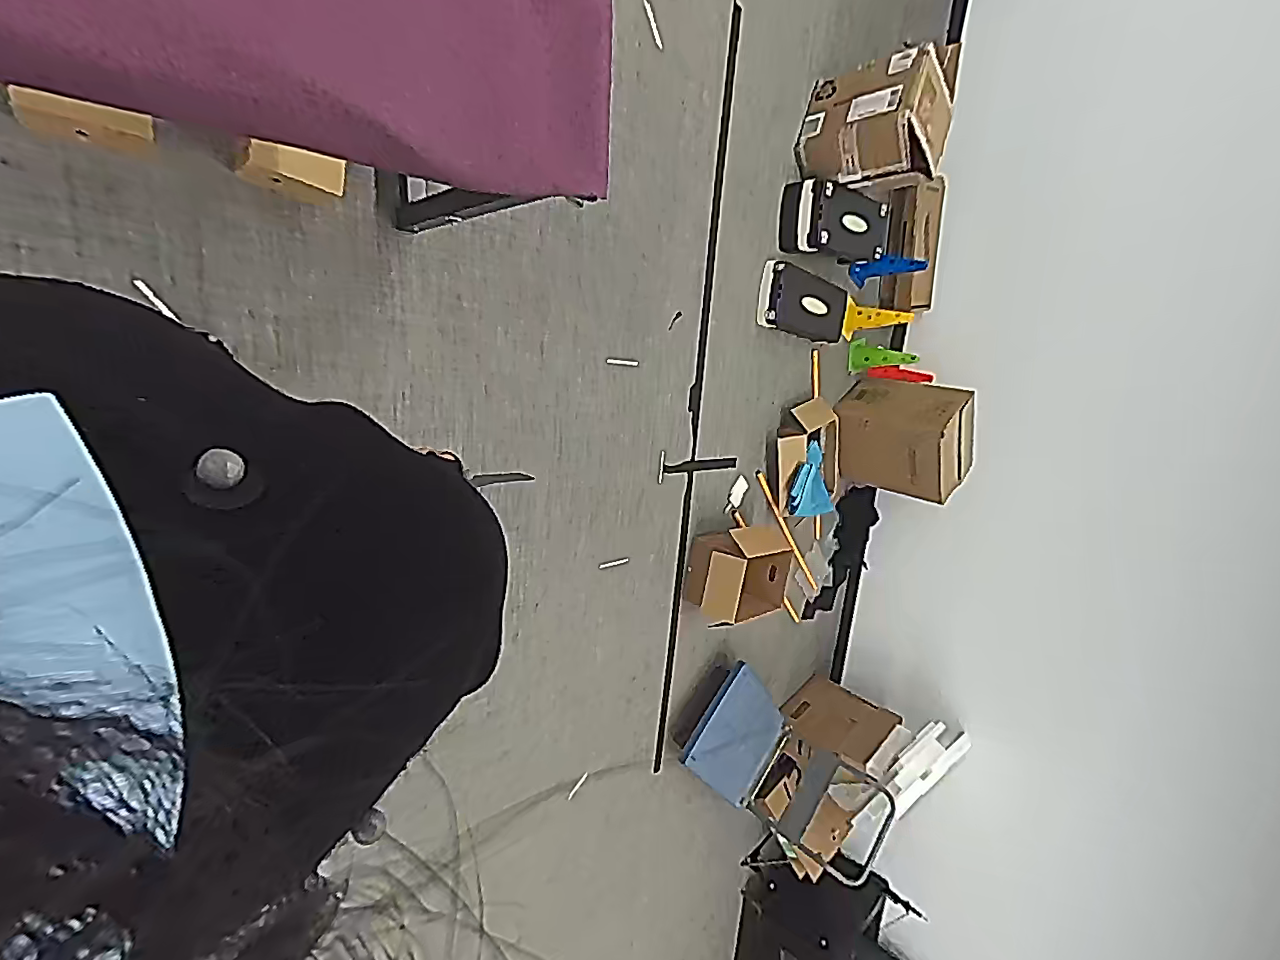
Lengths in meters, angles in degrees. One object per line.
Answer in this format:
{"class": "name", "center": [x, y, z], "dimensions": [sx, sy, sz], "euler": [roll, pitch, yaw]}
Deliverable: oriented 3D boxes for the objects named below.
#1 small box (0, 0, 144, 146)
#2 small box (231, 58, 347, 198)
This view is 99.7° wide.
{"class": "small box", "center": [-0.951, -0.693, 0.907], "dimensions": [0.168, 0.176, 0.179], "euler": [-6, 106, -45]}
{"class": "small box", "center": [-0.734, -0.713, 1.125], "dimensions": [0.168, 0.176, 0.179], "euler": [4, 99, -46]}
